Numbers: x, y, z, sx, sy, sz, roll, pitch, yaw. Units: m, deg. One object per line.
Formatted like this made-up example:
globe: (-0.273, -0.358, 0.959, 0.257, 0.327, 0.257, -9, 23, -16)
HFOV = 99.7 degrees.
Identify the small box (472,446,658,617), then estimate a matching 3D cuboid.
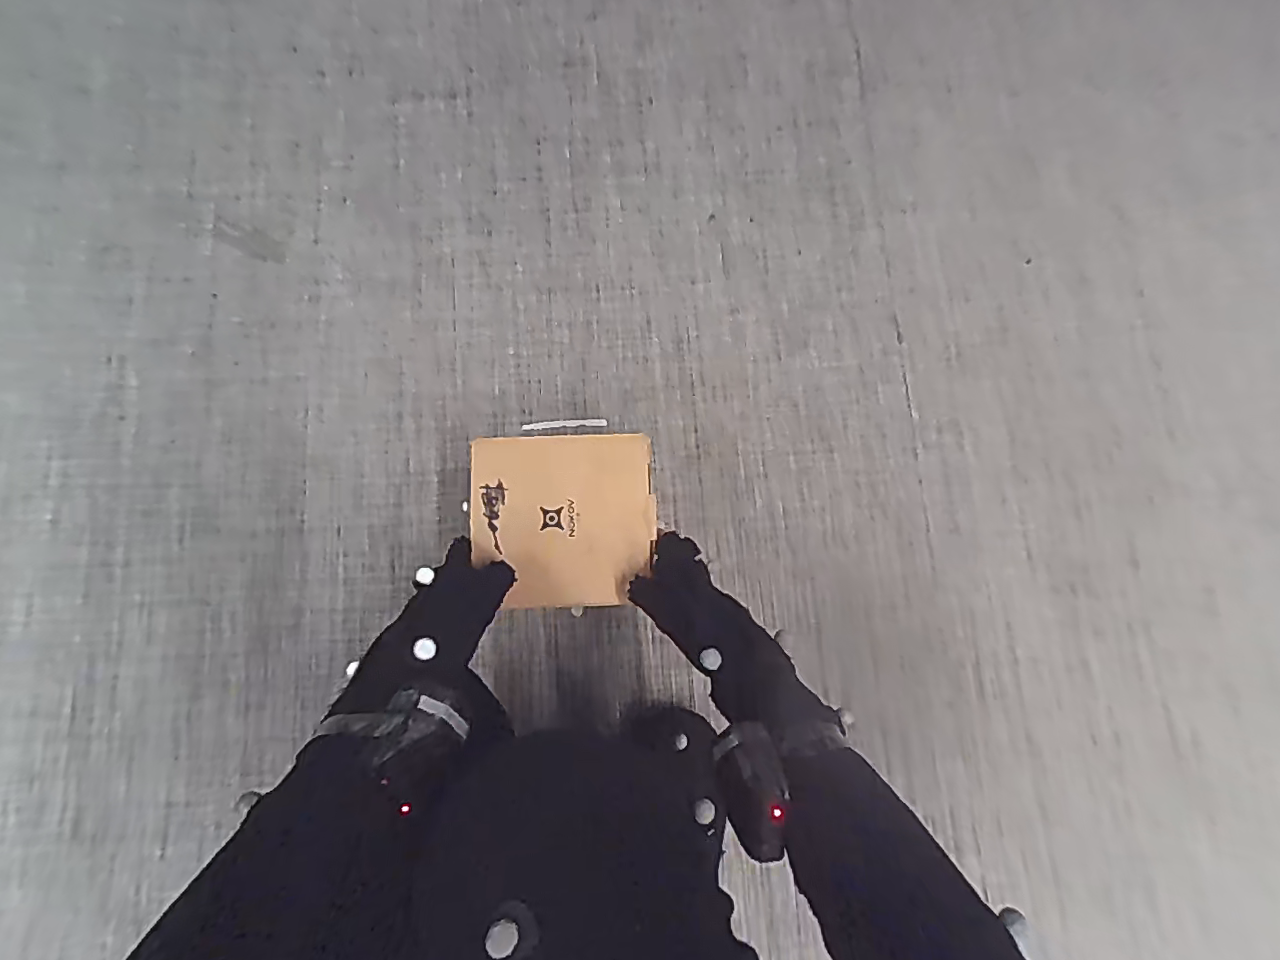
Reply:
small box: (-0.075, 0.060, 0.599, 0.179, 0.176, 0.168, -2, 80, -2)
